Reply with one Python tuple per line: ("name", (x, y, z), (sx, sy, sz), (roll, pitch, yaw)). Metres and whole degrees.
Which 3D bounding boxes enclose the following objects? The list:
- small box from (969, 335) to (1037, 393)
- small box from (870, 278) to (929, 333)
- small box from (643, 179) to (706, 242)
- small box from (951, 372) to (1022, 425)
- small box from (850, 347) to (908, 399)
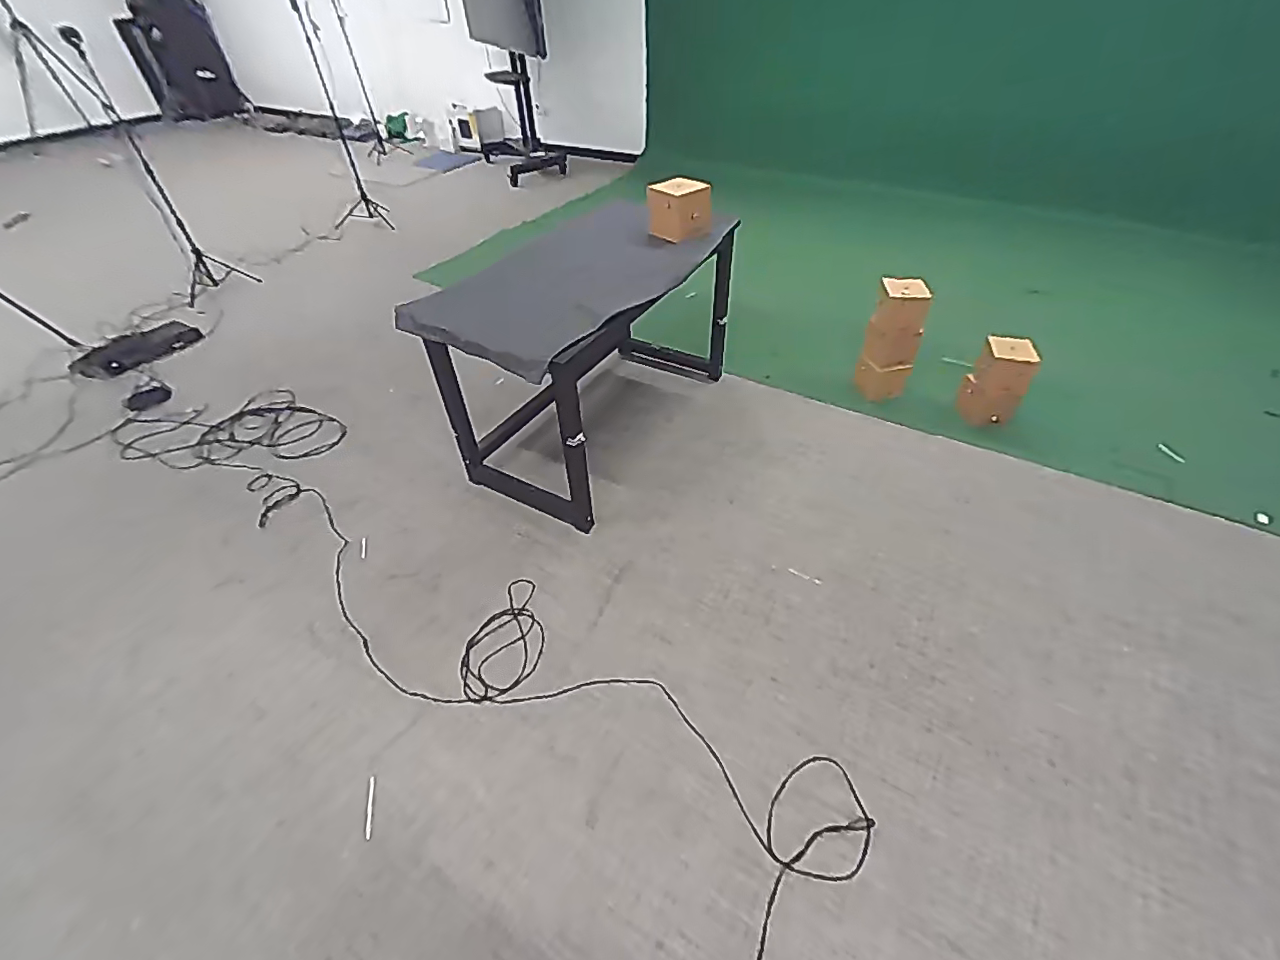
("small box", (1.501, -0.479, 2.245), (0.168, 0.176, 0.179), (9, 44, 10))
("small box", (1.096, -0.743, 2.301), (0.168, 0.176, 0.179), (3, 44, 6))
("small box", (0.132, -1.011, 2.033), (0.168, 0.176, 0.179), (-30, 48, -26))
("small box", (1.498, -0.358, 2.354), (0.168, 0.176, 0.179), (-6, 45, -4))
("small box", (1.104, -0.493, 2.514), (0.168, 0.176, 0.179), (-11, 44, -8))
